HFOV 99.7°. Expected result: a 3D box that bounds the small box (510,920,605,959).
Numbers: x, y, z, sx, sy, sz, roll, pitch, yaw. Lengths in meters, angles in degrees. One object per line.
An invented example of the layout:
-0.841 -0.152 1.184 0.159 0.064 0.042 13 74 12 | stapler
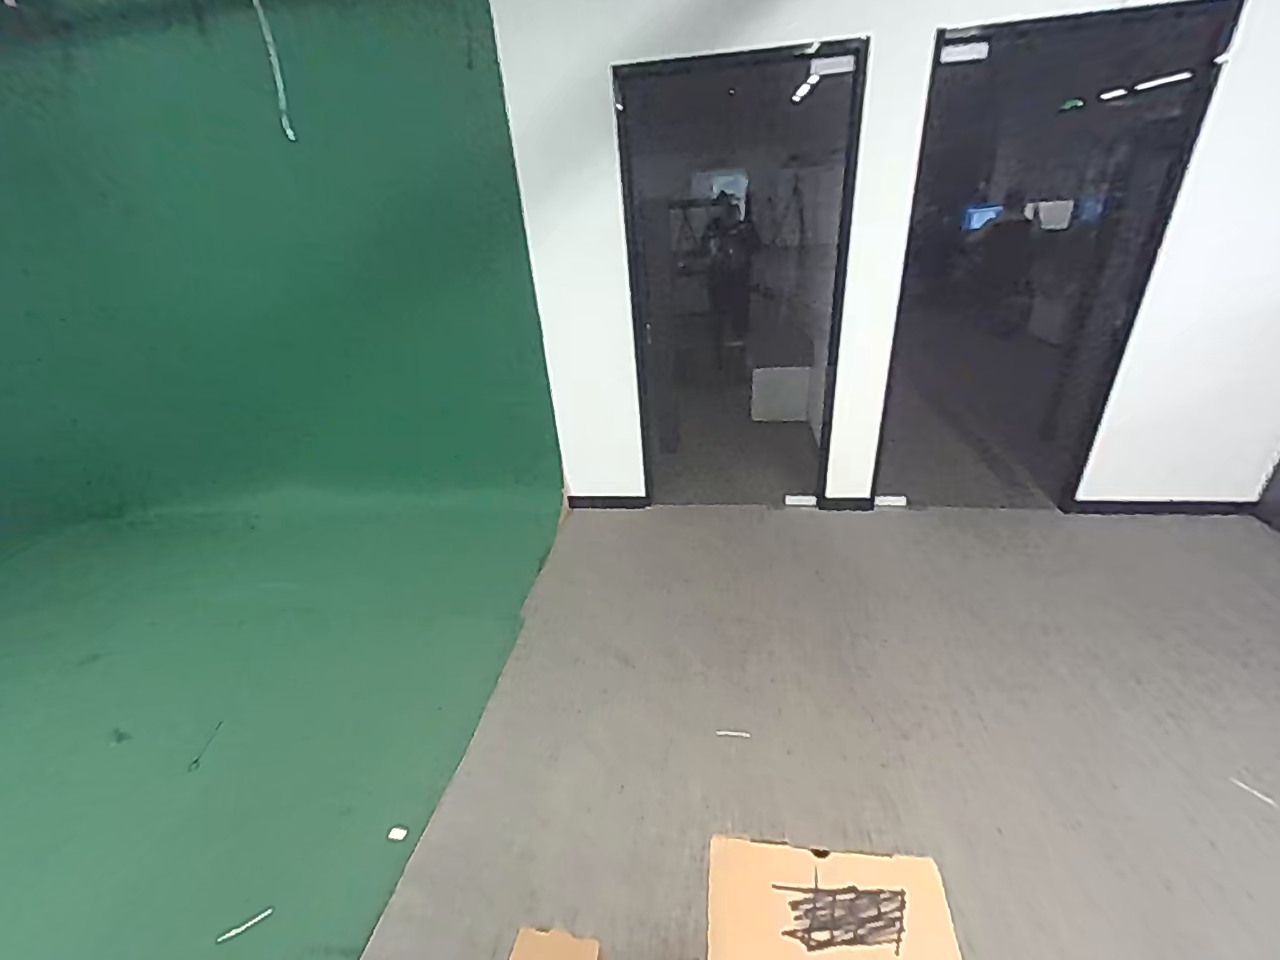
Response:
-0.164 0.986 1.020 0.168 0.176 0.179 0 29 11 | small box

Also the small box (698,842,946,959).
0.125 0.402 0.399 0.168 0.176 0.179 2 41 8 | small box
